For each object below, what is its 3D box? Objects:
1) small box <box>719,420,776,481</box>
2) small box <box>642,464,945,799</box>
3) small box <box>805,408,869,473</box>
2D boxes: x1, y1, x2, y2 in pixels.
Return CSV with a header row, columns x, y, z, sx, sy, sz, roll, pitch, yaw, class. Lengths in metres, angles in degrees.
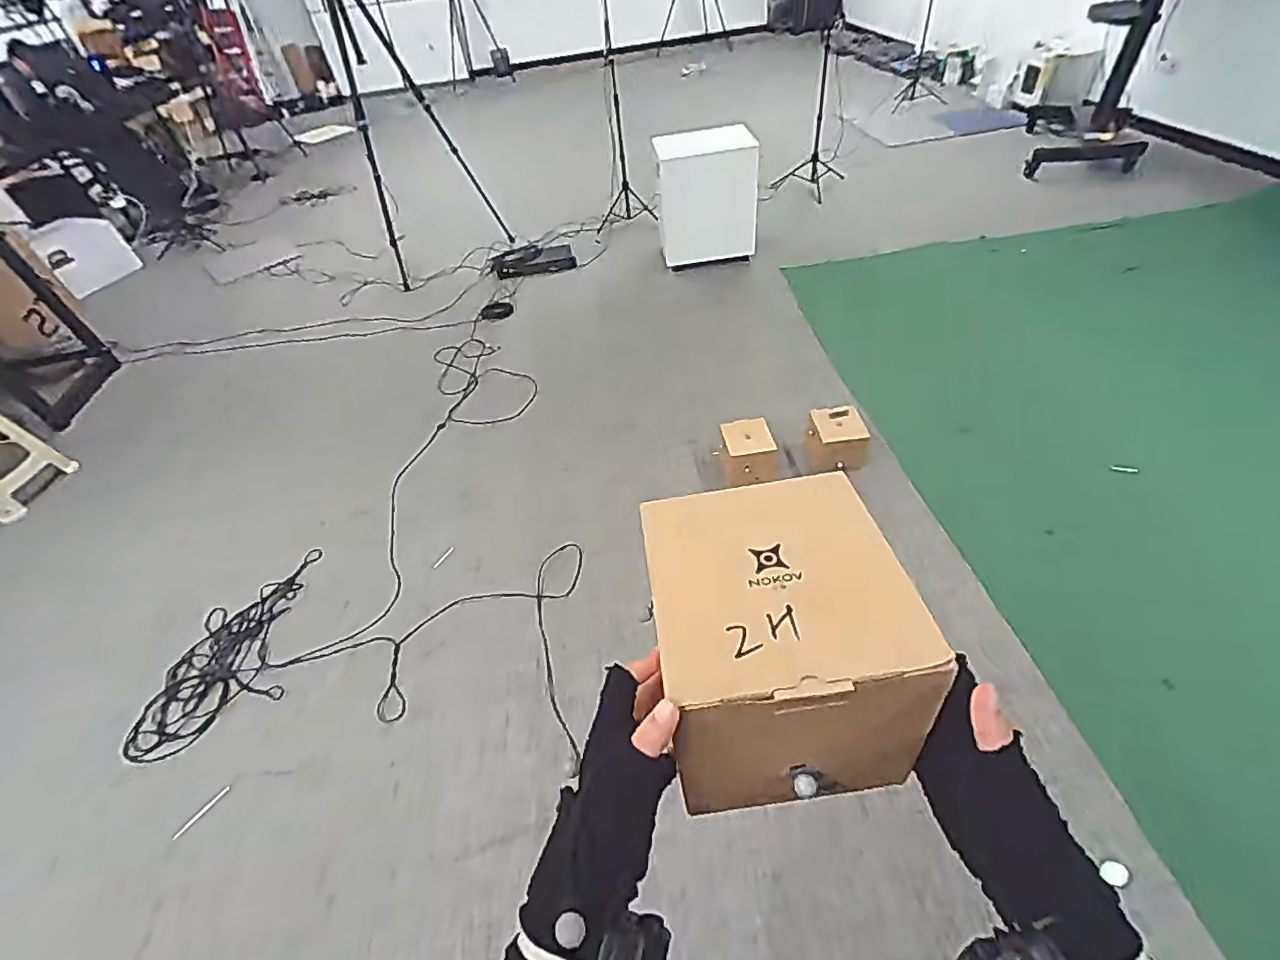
x,y,z,sx,sy,sz,roll,pitch,yaw,class
0.391,-0.092,1.980,0.168,0.176,0.179,-9,45,-1,small box
0.097,0.114,0.421,0.168,0.176,0.179,-10,39,1,small box
0.714,-0.140,1.979,0.168,0.176,0.179,-7,47,2,small box
